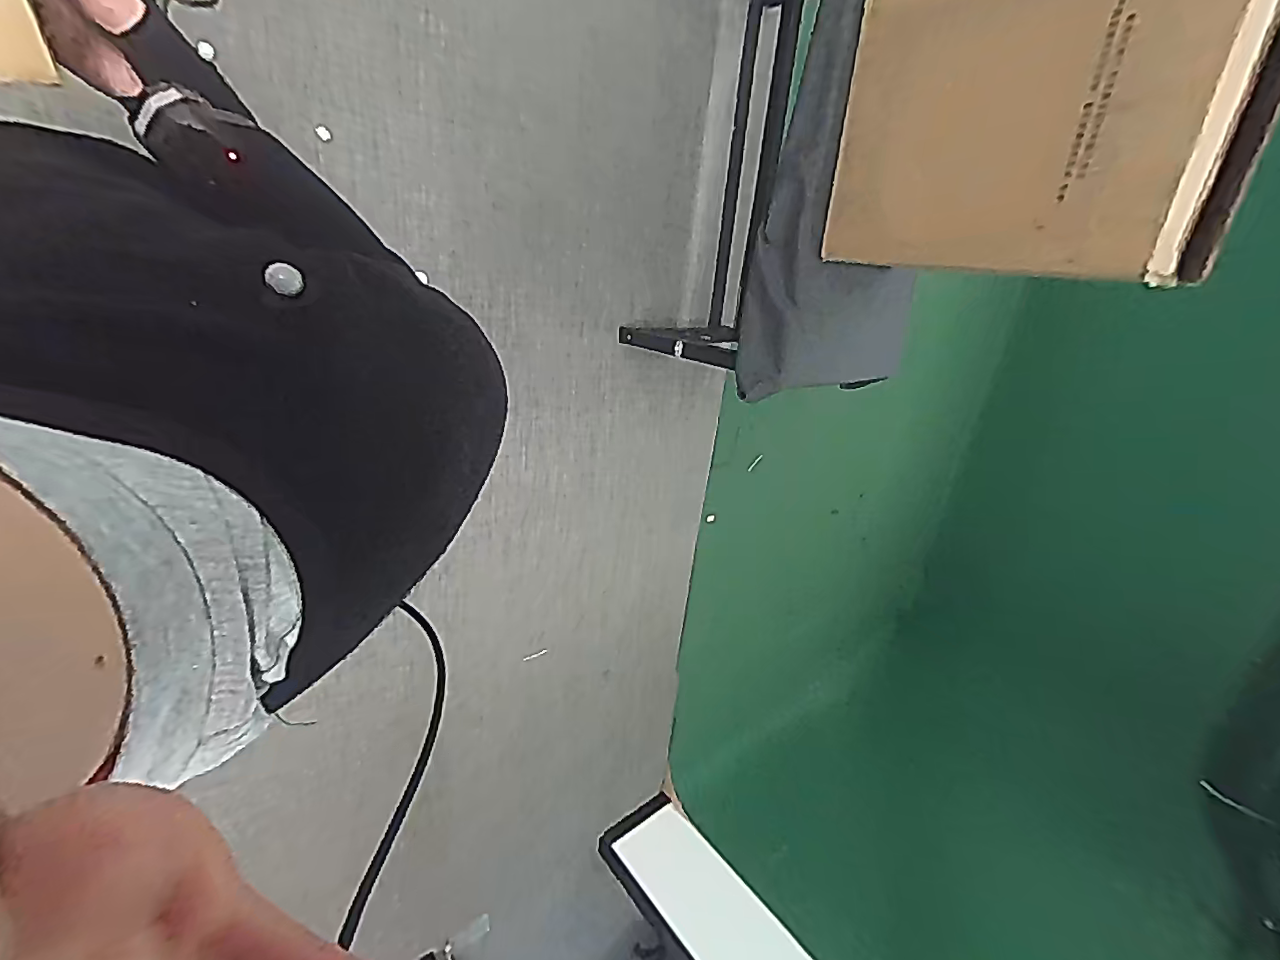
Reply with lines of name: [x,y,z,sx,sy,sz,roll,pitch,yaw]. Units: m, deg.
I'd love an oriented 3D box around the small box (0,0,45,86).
small box: [-0.468,-0.322,0.281,0.179,0.176,0.168,-21,135,-35]
